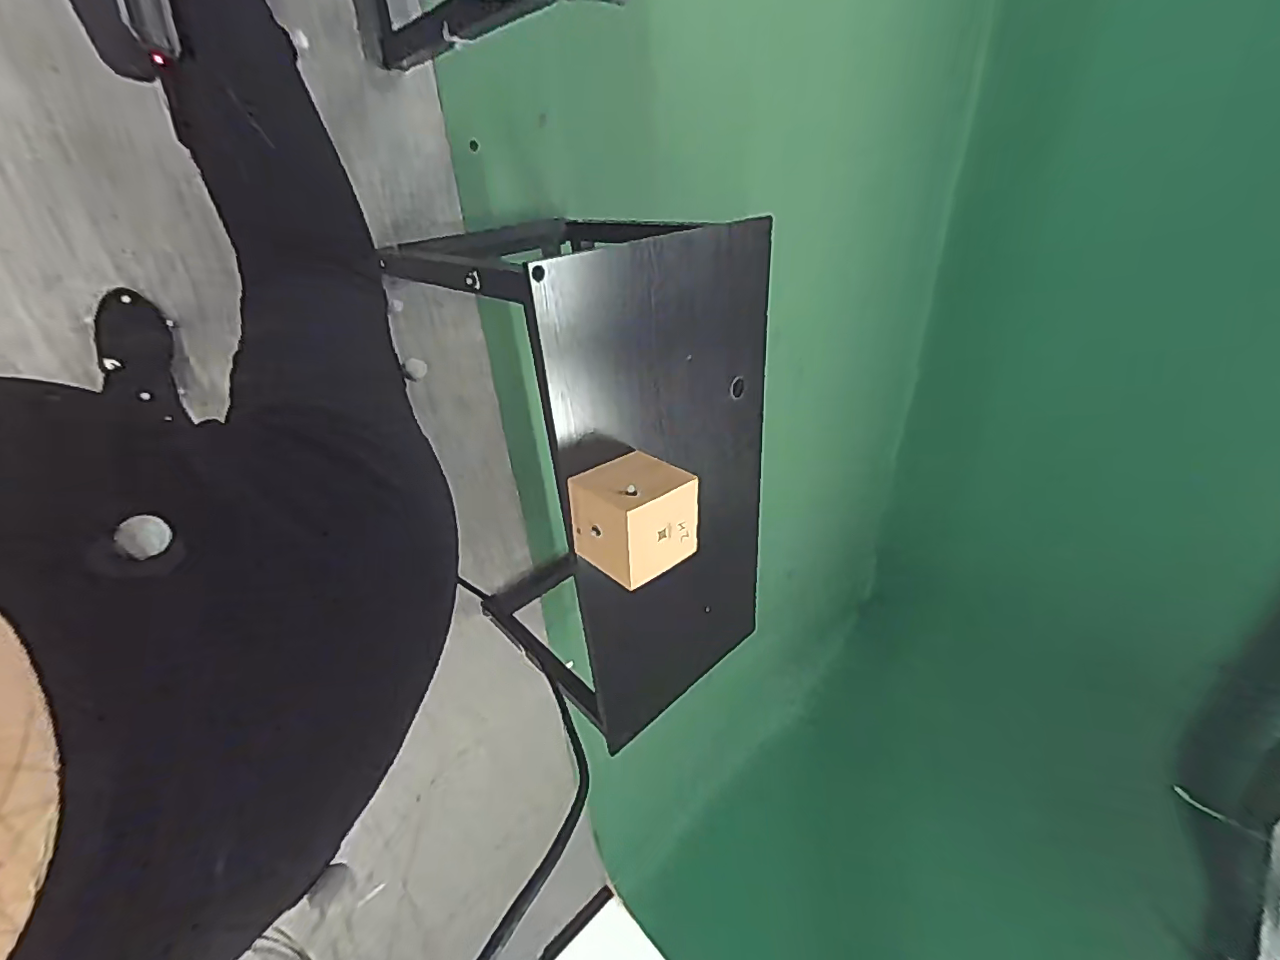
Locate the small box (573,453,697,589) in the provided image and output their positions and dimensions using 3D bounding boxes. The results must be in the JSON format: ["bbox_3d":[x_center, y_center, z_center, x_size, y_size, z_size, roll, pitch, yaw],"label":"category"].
[{"bbox_3d":[-0.014,0.067,1.012,0.179,0.176,0.168,-24,126,-36],"label":"small box"}]
